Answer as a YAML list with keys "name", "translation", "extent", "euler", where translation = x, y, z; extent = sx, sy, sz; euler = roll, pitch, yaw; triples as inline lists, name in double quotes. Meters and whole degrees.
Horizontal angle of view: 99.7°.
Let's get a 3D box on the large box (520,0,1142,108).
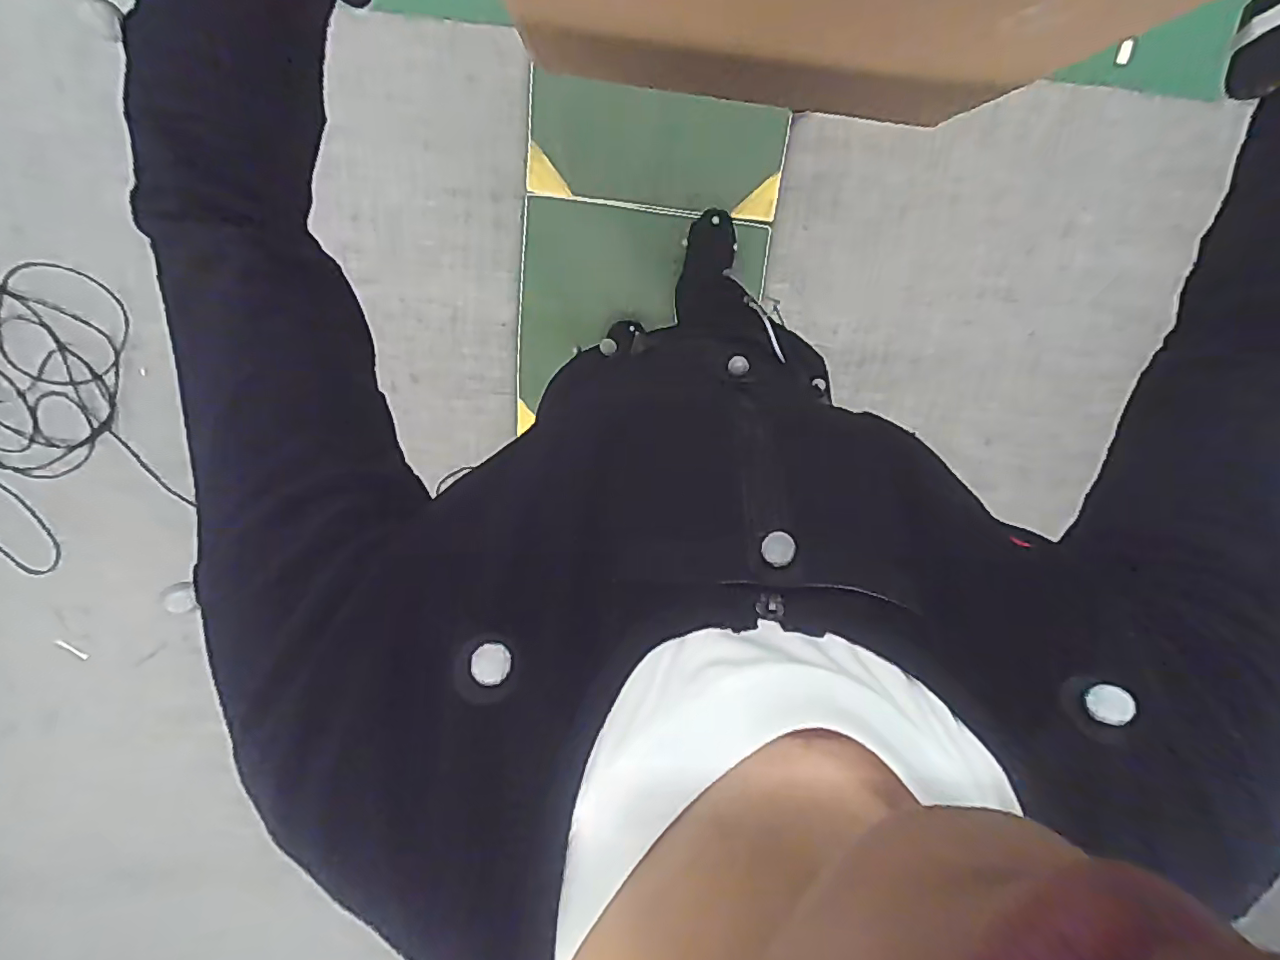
- name: "large box"
  translation: [0.118, -0.472, 0.342]
  extent: [0.408, 0.320, 0.320]
  euler: [4, 112, -4]
